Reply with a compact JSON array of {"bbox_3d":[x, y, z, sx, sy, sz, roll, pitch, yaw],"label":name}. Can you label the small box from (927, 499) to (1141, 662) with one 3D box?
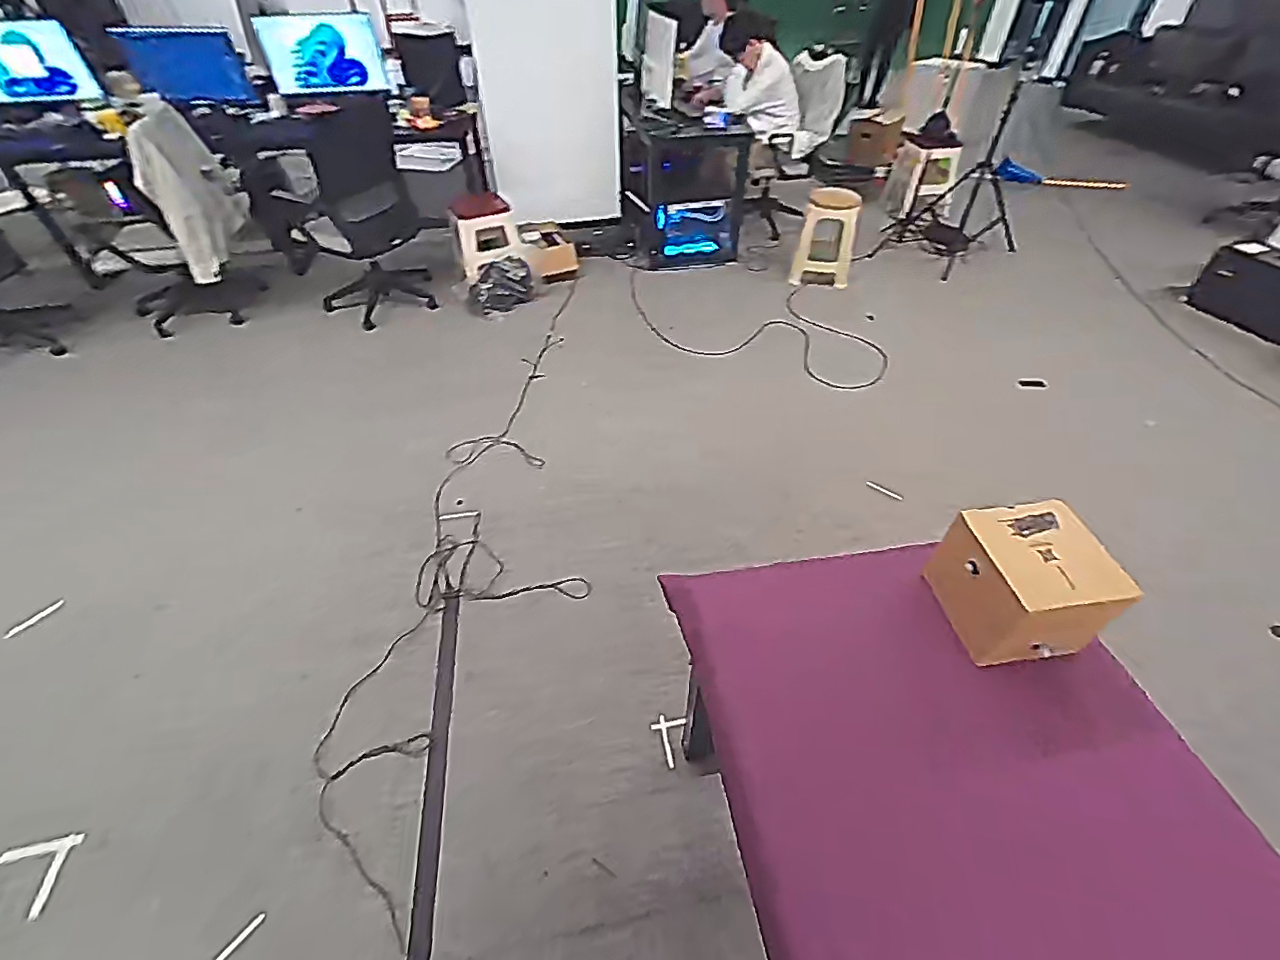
[{"bbox_3d":[0.579,0.154,0.828,0.168,0.176,0.179,-7,47,-3],"label":"small box"}]
